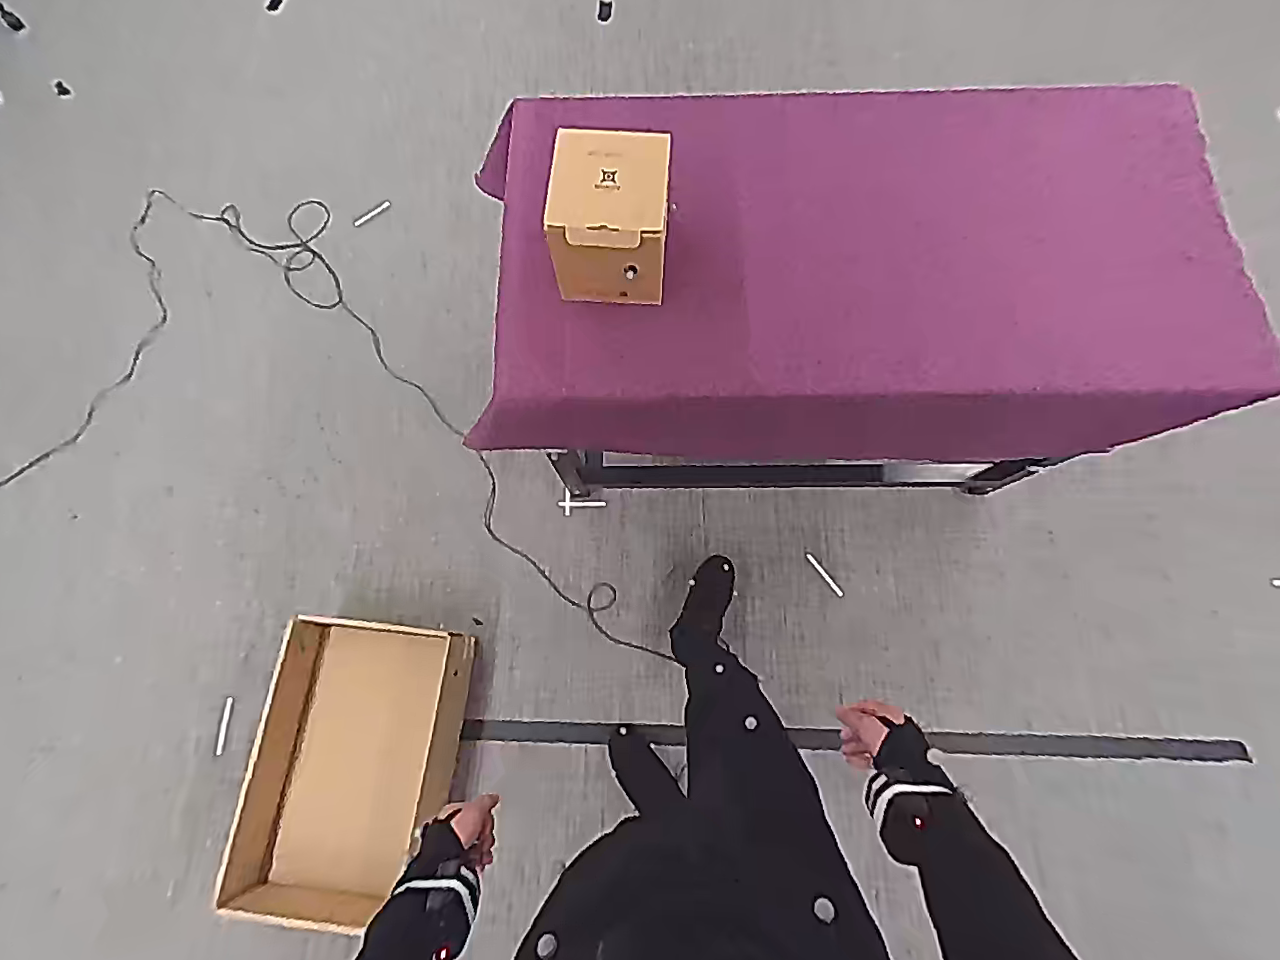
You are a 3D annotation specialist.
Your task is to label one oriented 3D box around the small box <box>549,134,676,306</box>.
[{"bbox_3d":[-0.035,-0.390,0.833,0.168,0.176,0.179,5,74,2],"label":"small box"}]
